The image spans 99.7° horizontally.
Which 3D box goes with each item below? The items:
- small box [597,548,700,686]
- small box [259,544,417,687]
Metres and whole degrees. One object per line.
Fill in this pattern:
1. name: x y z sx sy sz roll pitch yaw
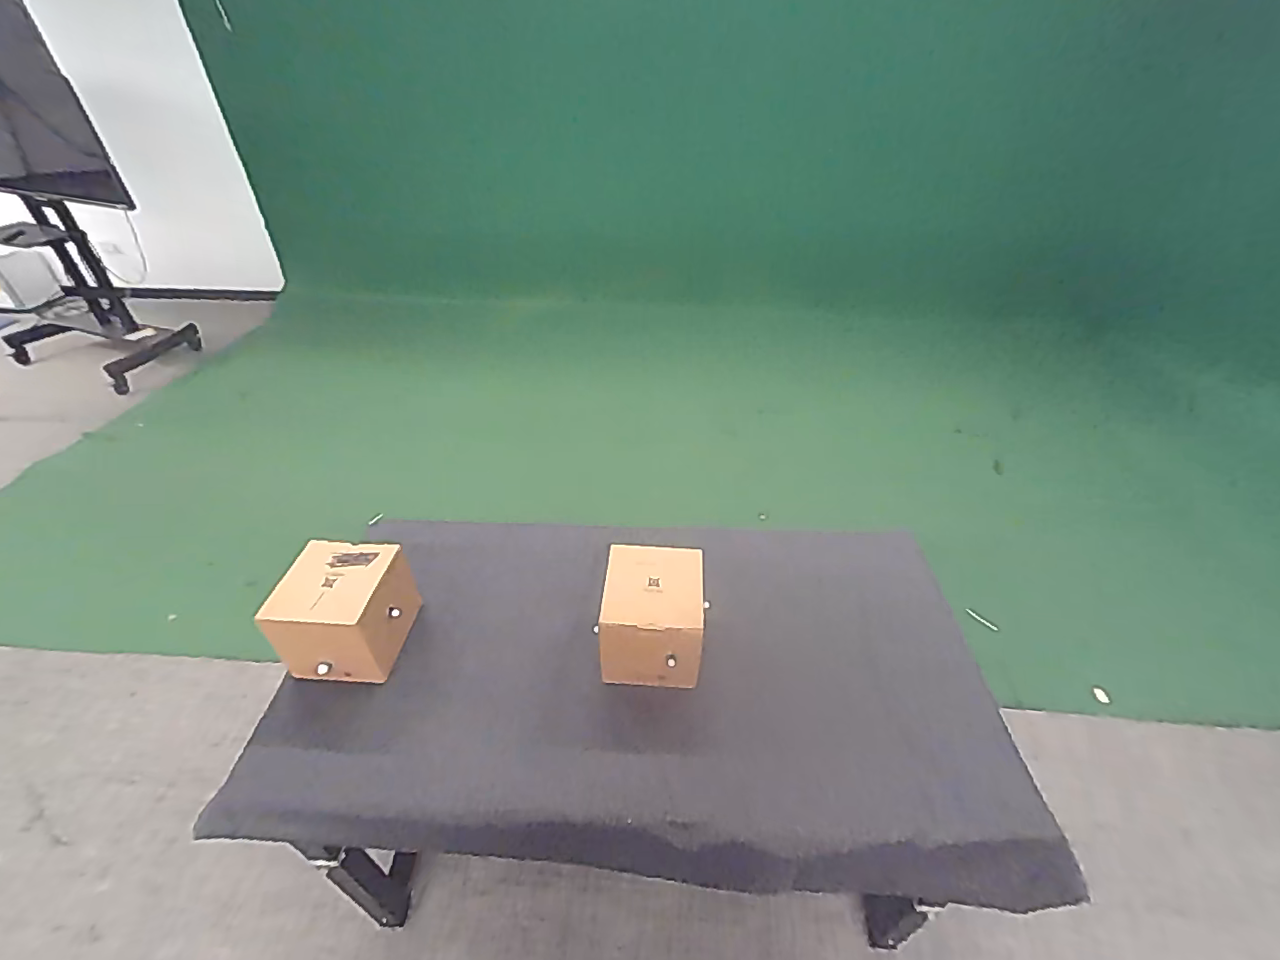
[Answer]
1. small box: 0.017 0.245 0.961 0.168 0.176 0.179 3 38 1
2. small box: -0.513 0.237 0.955 0.168 0.176 0.179 2 39 2
